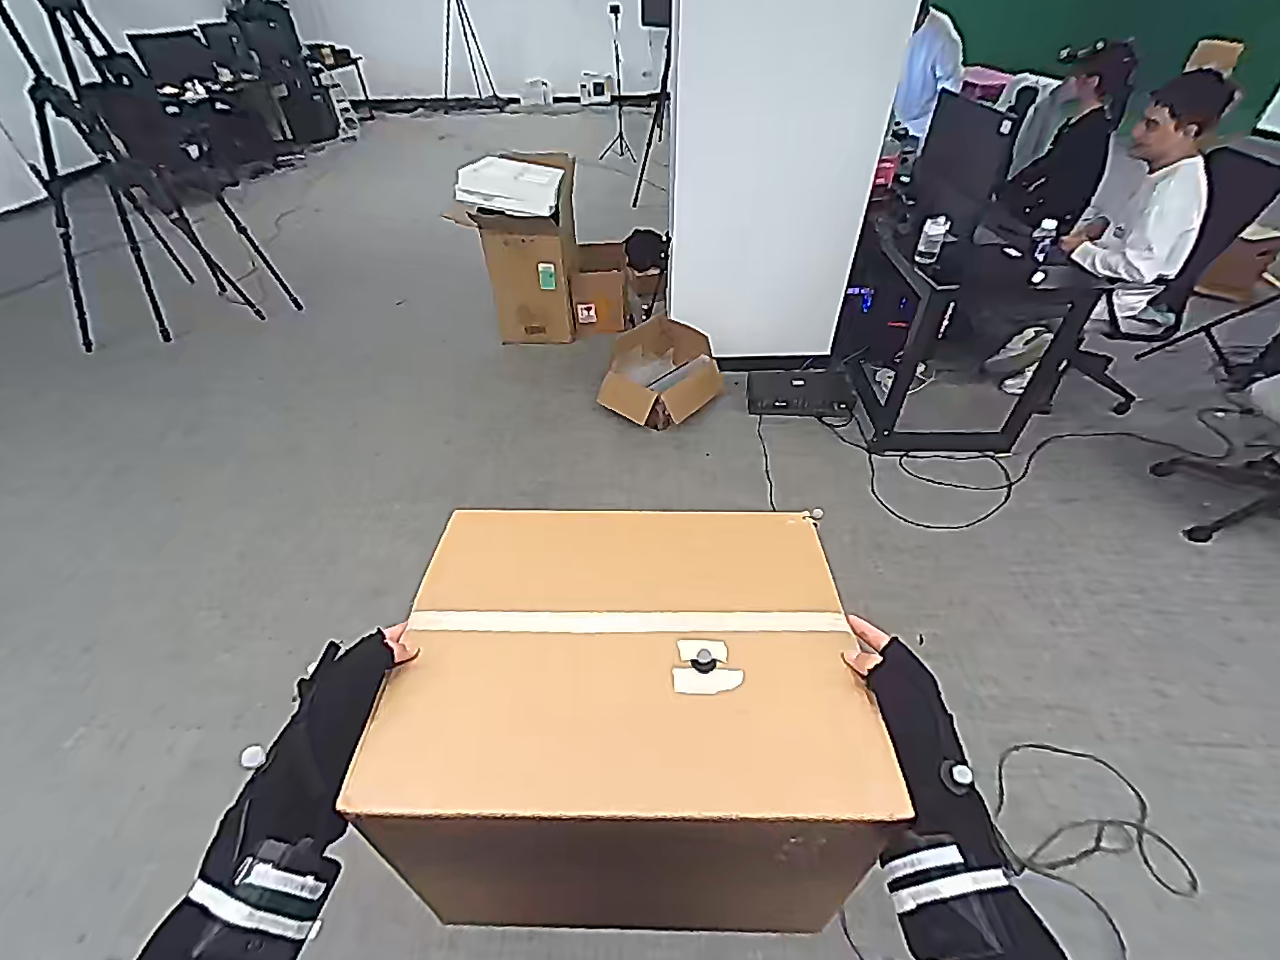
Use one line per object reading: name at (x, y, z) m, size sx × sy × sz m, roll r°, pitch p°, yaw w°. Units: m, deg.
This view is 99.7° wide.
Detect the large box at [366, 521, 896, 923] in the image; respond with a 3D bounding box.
large box at (-0.008, 0.260, 0.604) m, size 0.408 × 0.320 × 0.320 m, roll 1°, pitch 39°, yaw 1°
